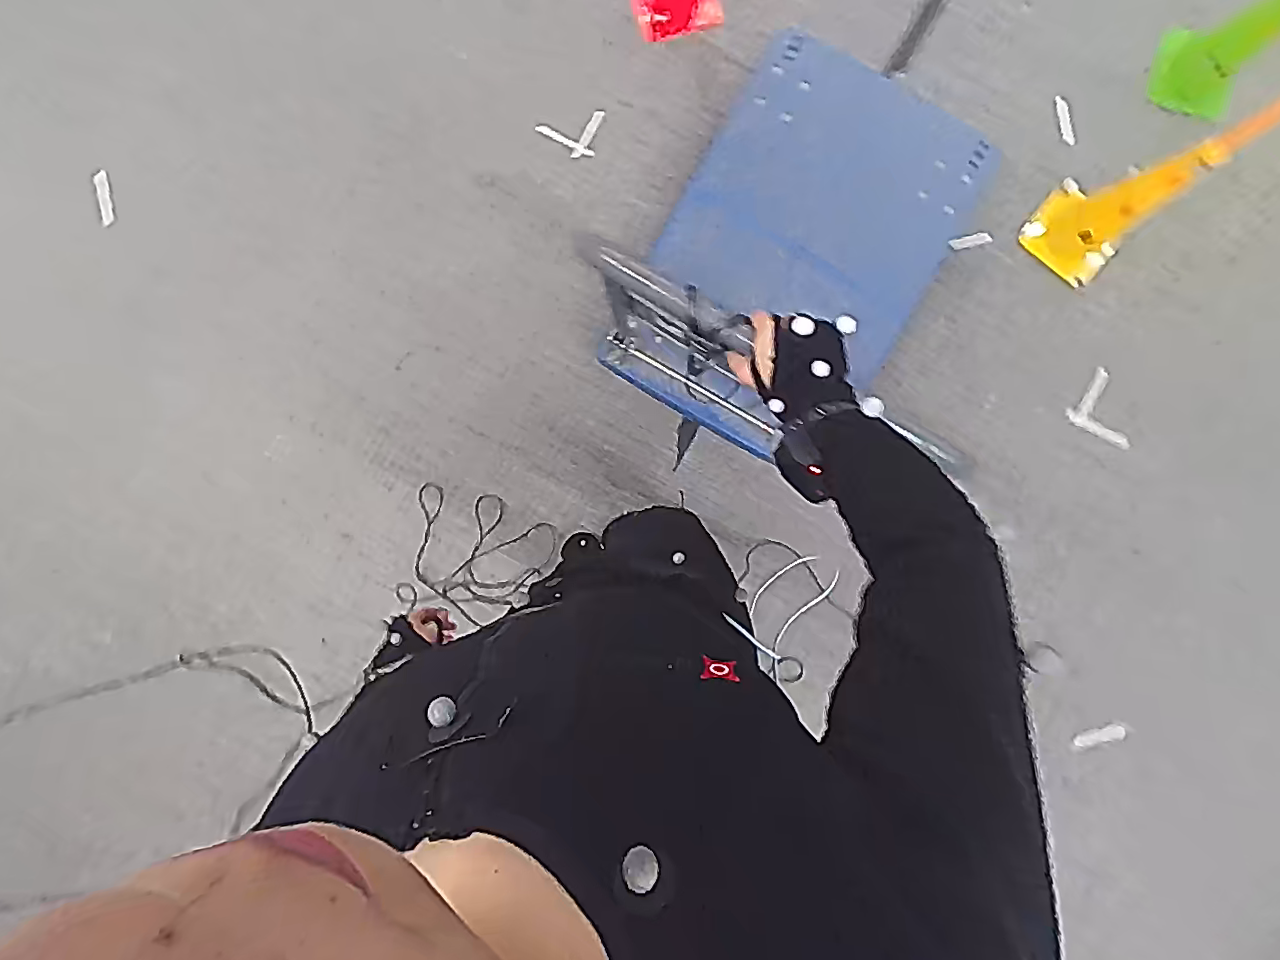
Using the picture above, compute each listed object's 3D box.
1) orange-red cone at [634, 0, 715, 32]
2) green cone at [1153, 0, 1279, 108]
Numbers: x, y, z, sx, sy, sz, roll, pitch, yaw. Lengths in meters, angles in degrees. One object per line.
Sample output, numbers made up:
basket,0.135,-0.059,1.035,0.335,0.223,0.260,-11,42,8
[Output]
orange-red cone,0.080,-1.244,1.195,0.199,0.360,0.198,-16,91,-2
green cone,1.415,-1.055,1.197,0.200,0.368,0.202,15,91,0
